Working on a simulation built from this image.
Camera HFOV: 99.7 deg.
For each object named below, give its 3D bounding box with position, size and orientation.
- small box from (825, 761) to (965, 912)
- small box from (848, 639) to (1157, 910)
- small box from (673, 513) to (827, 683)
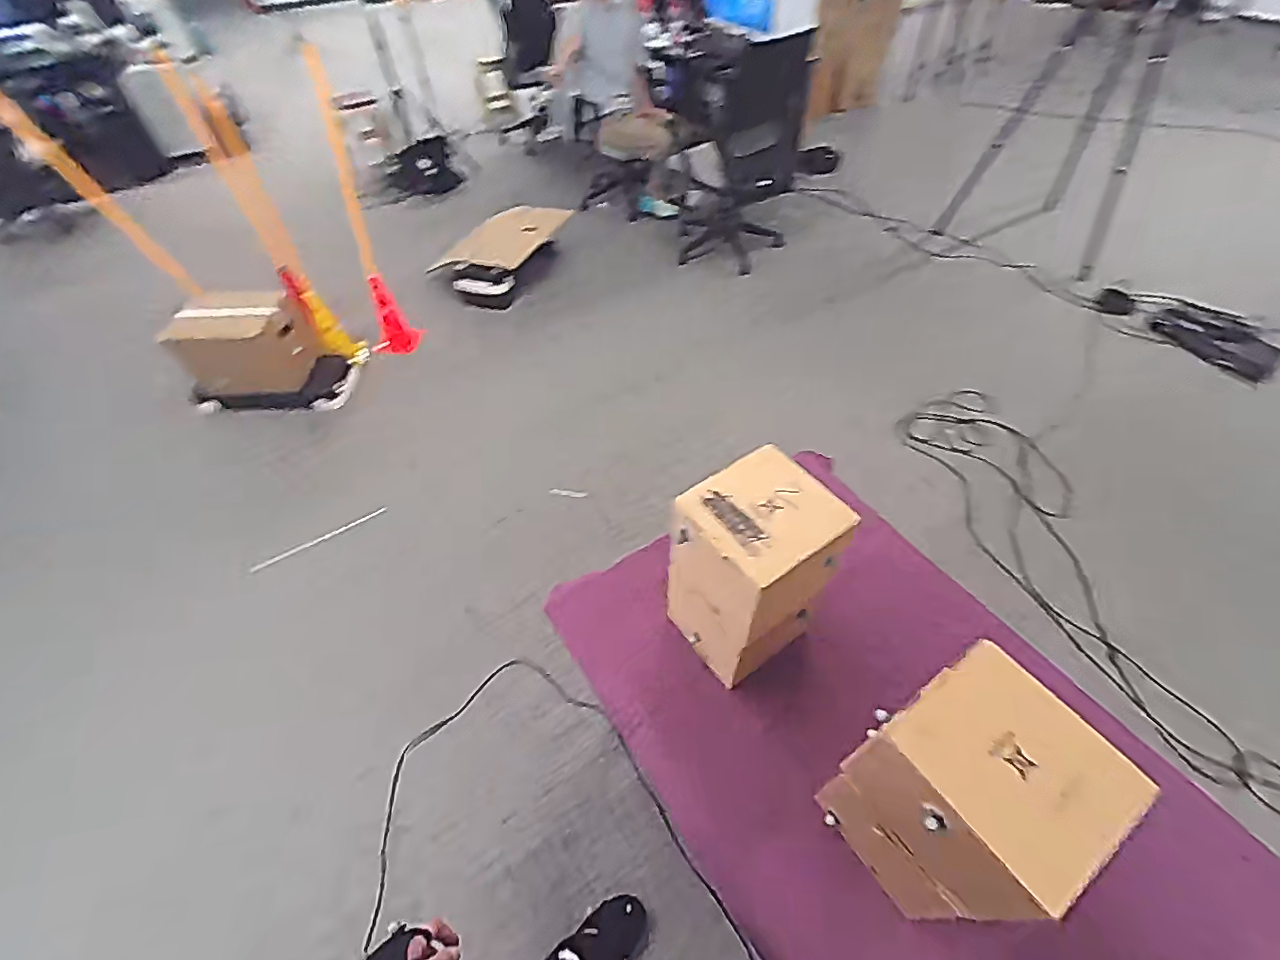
[{"bbox_3d":[0.359,0.410,0.689,0.179,0.176,0.168,-28,54,-20],"label":"small box"},{"bbox_3d":[0.349,0.307,0.563,0.168,0.176,0.179,-28,55,-18],"label":"small box"},{"bbox_3d":[0.166,0.192,0.879,0.179,0.176,0.168,-29,54,-19],"label":"small box"}]
